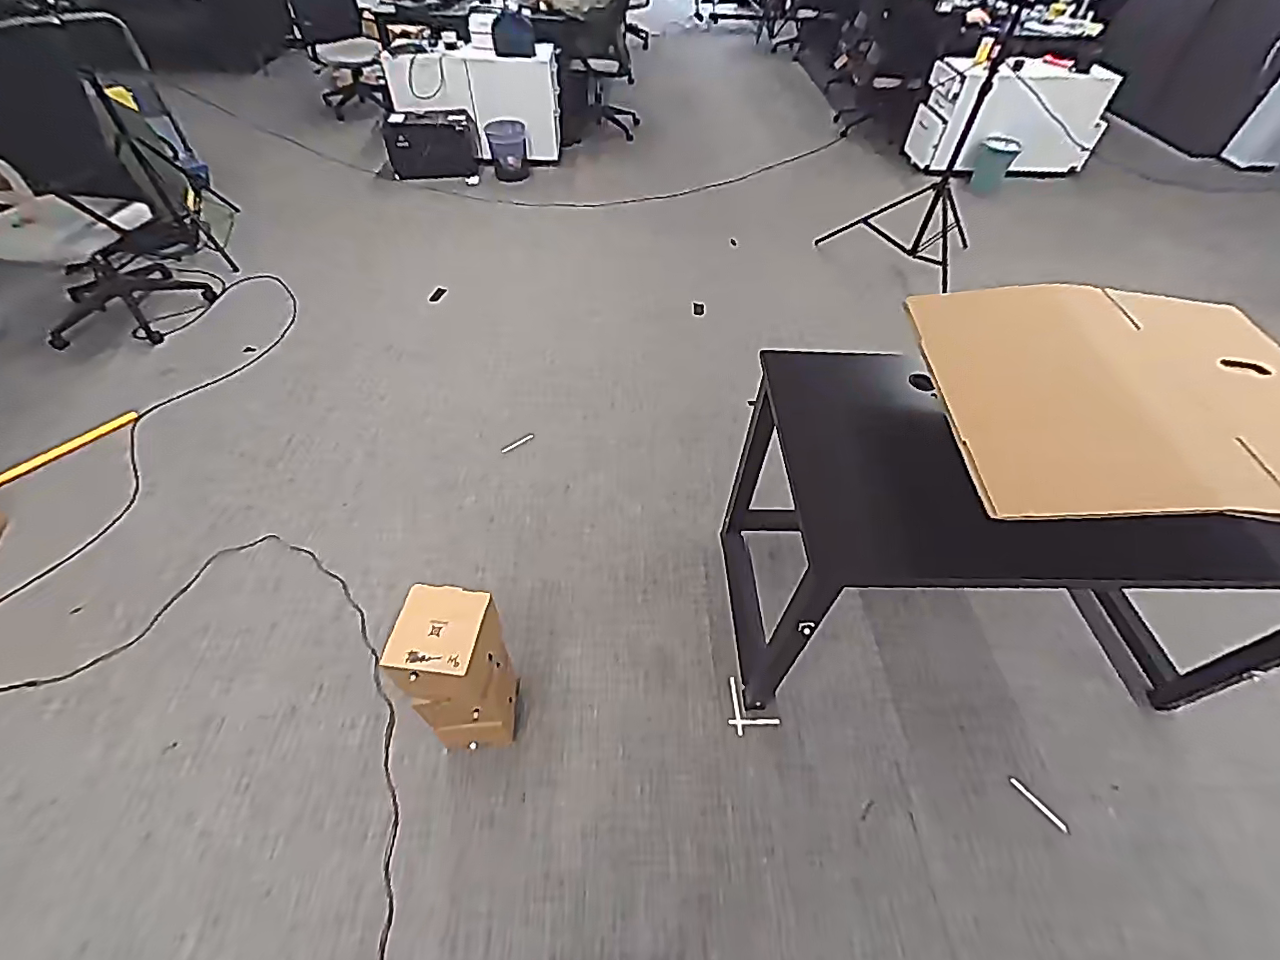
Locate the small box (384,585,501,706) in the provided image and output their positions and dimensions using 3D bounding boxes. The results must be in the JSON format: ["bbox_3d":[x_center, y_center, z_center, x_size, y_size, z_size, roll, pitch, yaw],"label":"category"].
[{"bbox_3d":[-0.396,0.345,1.123,0.168,0.176,0.179,6,49,2],"label":"small box"}]

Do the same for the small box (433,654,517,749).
[{"bbox_3d":[-0.407,0.561,1.367,0.168,0.176,0.179,-3,51,-4],"label":"small box"}]

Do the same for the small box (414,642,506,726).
[{"bbox_3d":[-0.404,0.451,1.247,0.168,0.176,0.179,-5,48,-8],"label":"small box"}]
